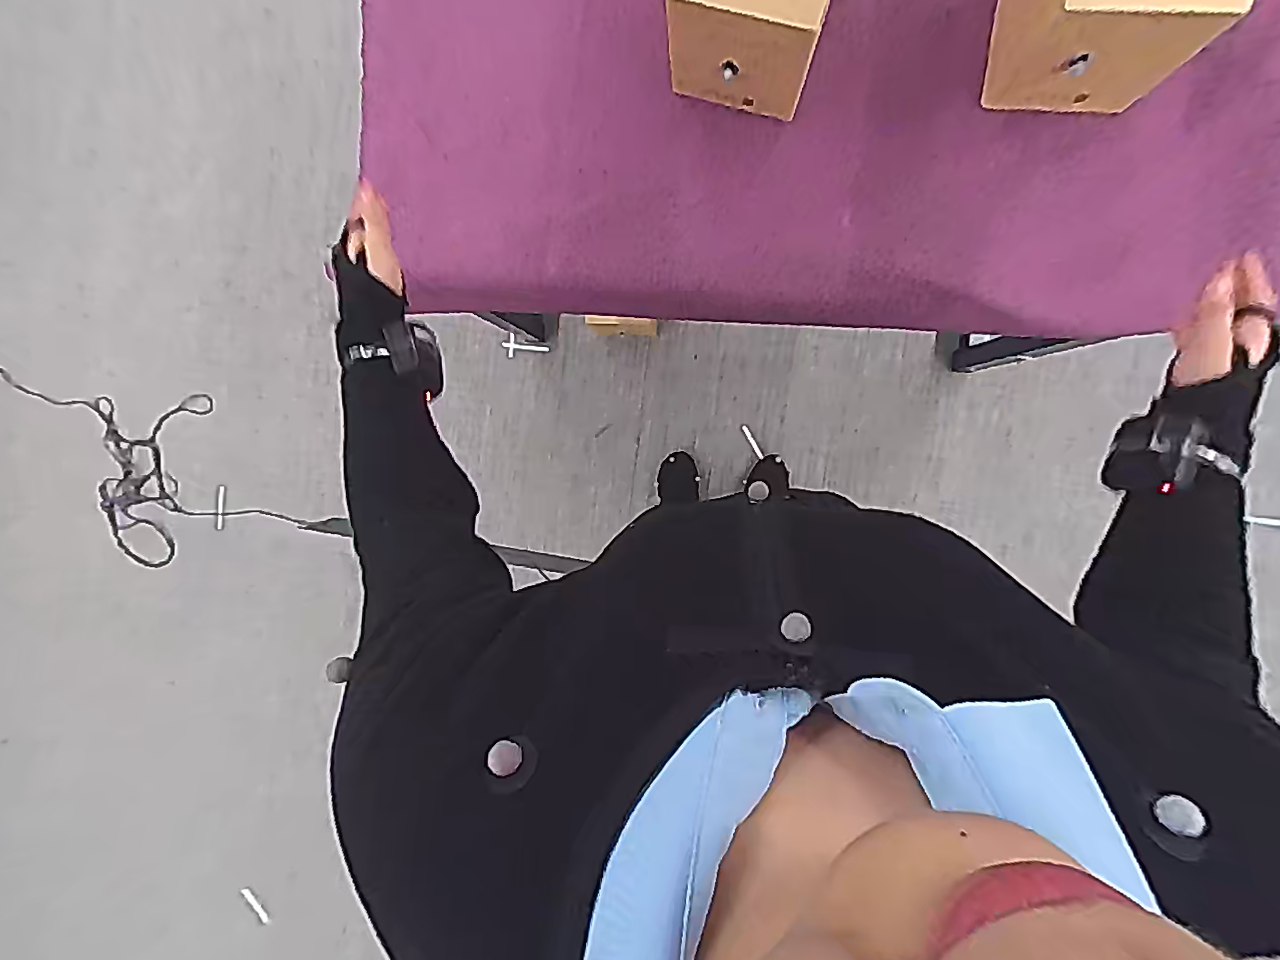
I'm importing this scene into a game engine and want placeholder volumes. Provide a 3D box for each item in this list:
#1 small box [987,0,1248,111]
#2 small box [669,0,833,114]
[{"bbox_3d":[0.516,-0.544,0.595,0.168,0.176,0.179,7,95,7],"label":"small box"},{"bbox_3d":[0.142,-0.576,0.633,0.168,0.176,0.179,18,96,4],"label":"small box"}]
